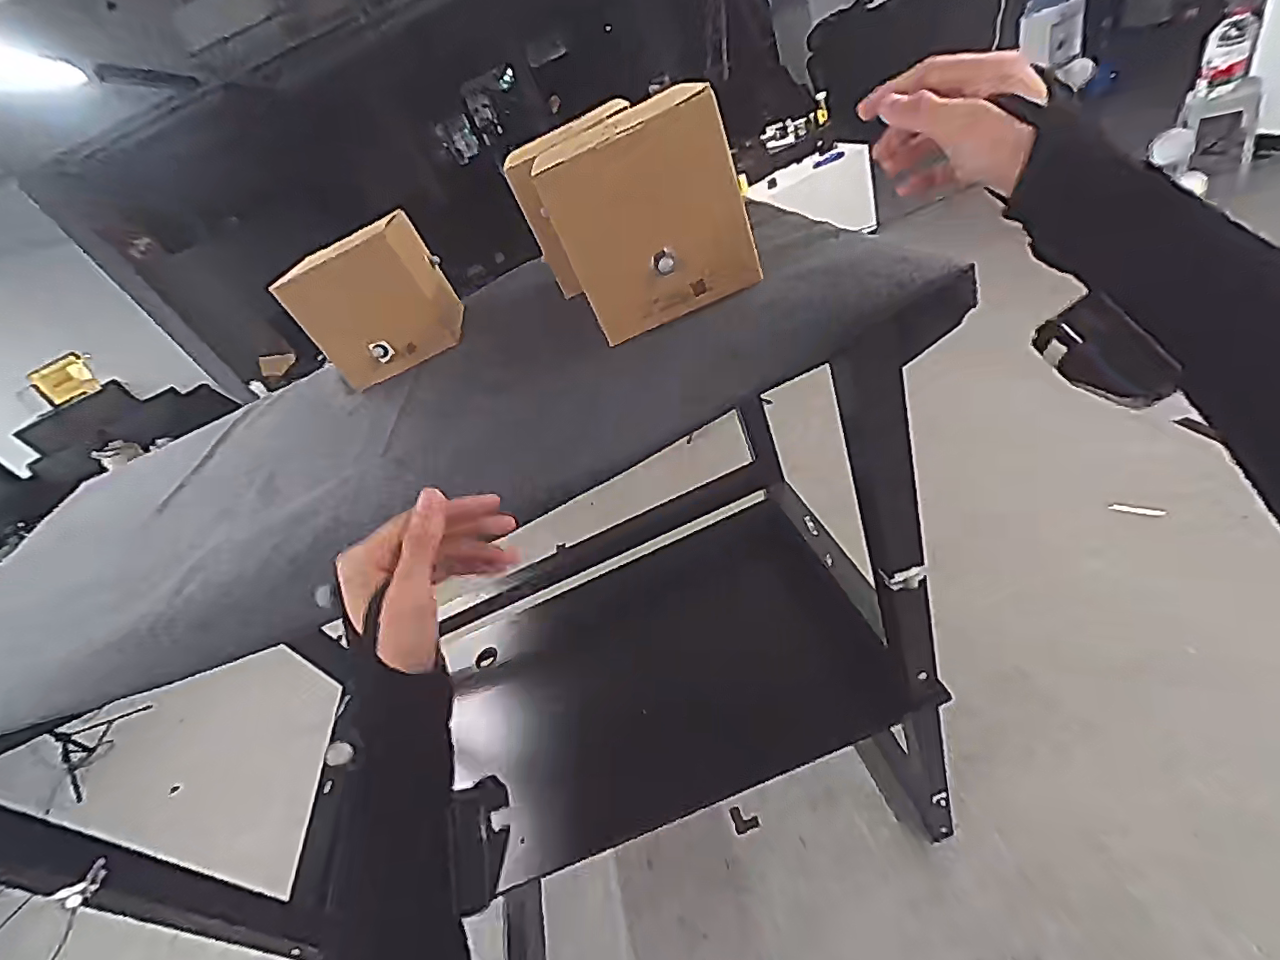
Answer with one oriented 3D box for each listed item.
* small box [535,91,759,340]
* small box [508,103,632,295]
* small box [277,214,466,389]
[{"bbox_3d":[0.008,-0.272,0.563,0.168,0.176,0.179,-21,36,9],"label":"small box"},{"bbox_3d":[-0.061,-0.376,0.735,0.168,0.176,0.179,-22,38,8],"label":"small box"},{"bbox_3d":[-0.373,-0.260,0.792,0.168,0.176,0.179,-26,36,3],"label":"small box"}]
